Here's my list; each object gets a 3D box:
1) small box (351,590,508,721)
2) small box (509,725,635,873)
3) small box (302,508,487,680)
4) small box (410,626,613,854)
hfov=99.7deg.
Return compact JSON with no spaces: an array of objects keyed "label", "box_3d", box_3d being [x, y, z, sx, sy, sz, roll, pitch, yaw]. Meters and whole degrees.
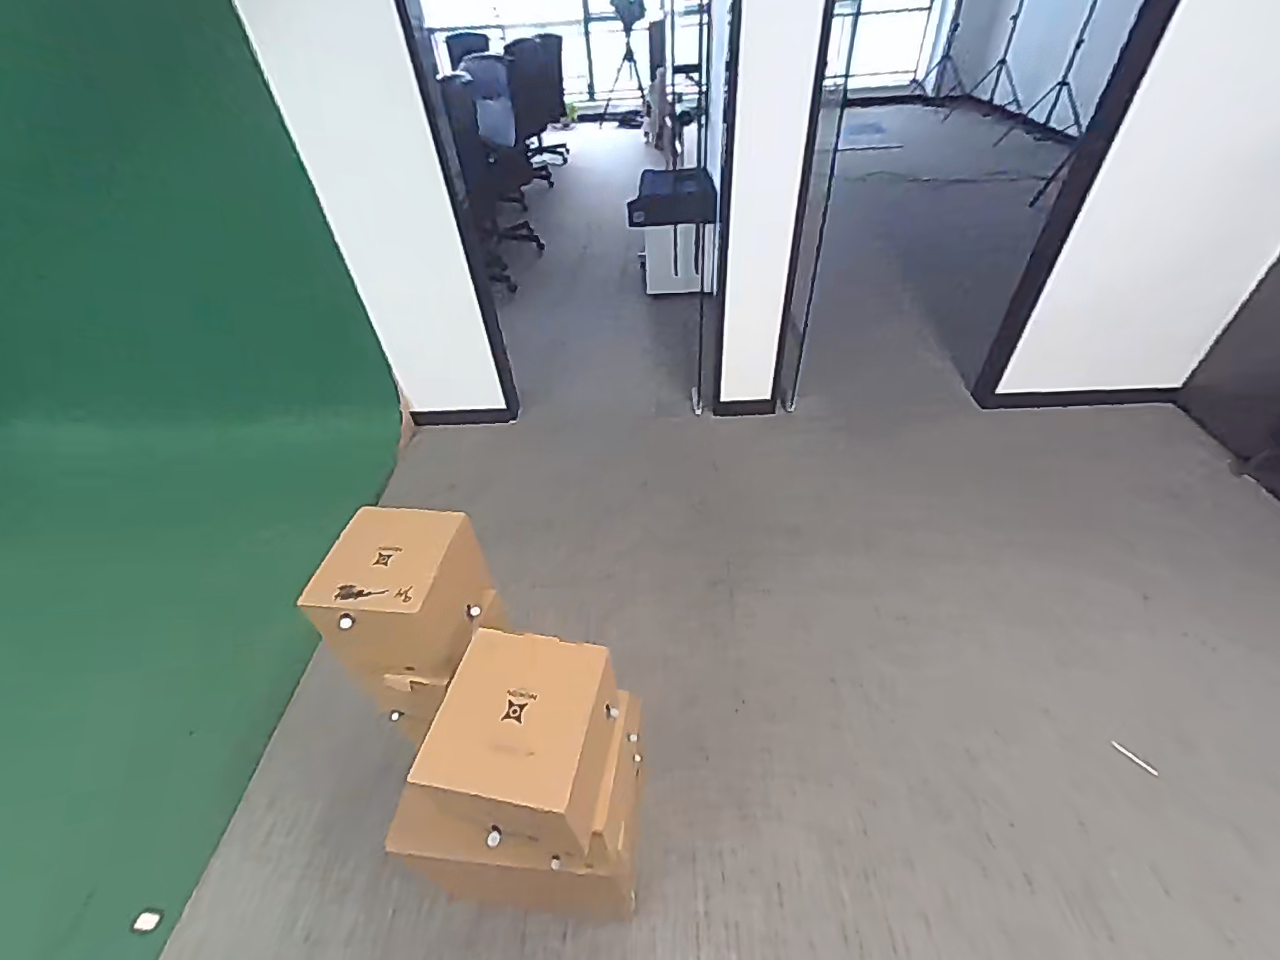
[{"label":"small box","box_3d":[-0.328,0.290,0.900,0.168,0.176,0.179,8,43,12]},{"label":"small box","box_3d":[-0.097,0.517,0.881,0.168,0.176,0.179,1,43,5]},{"label":"small box","box_3d":[-0.339,0.165,0.794,0.168,0.176,0.179,3,42,8]},{"label":"small box","box_3d":[-0.130,0.302,0.634,0.168,0.176,0.179,6,44,10]}]
